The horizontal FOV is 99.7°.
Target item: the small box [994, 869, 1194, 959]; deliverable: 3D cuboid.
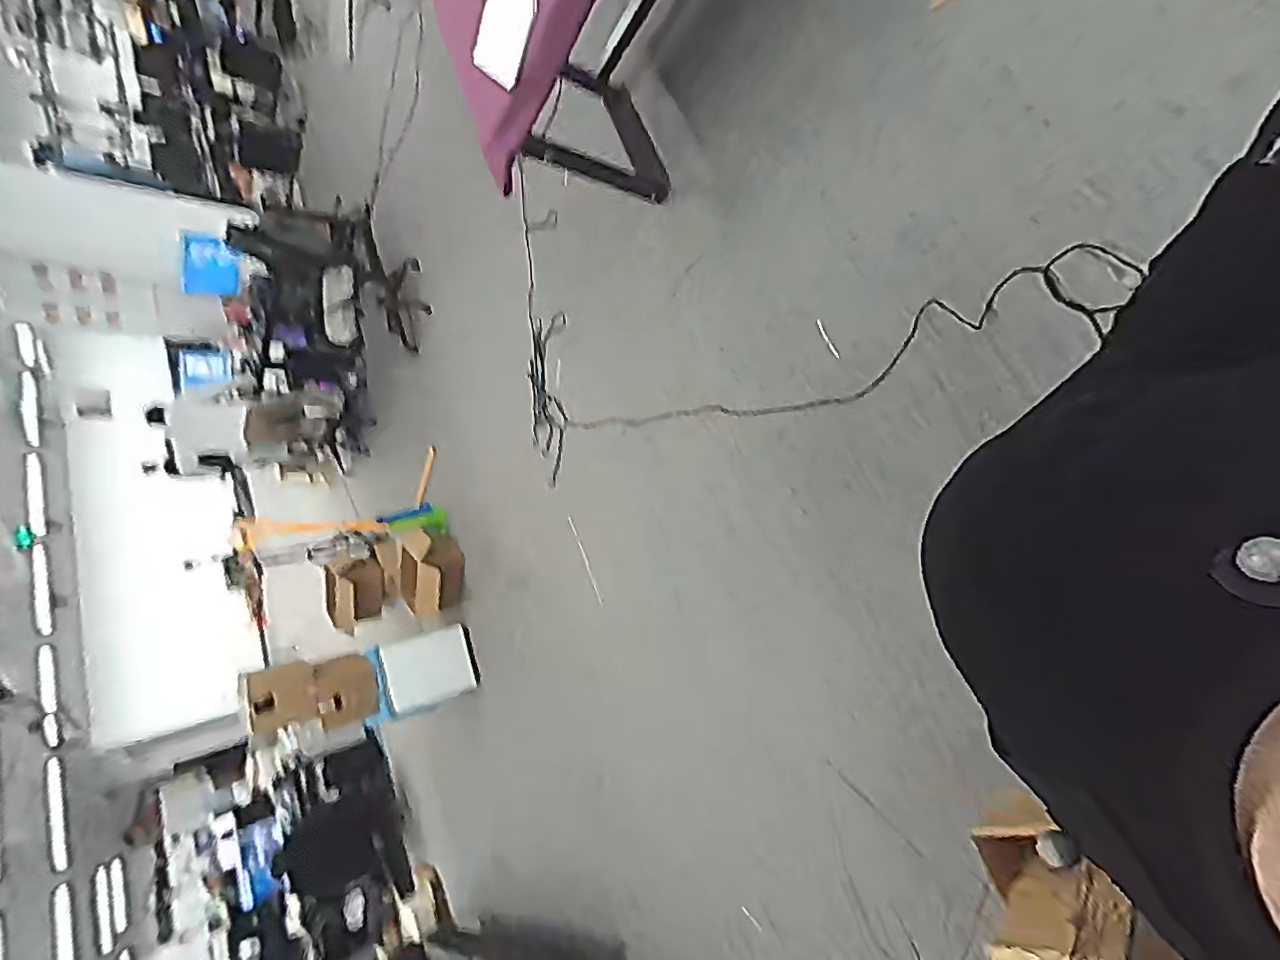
[{"bbox_3d":[0.632,0.666,0.736,0.168,0.176,0.179,-41,66,42],"label":"small box"}]
